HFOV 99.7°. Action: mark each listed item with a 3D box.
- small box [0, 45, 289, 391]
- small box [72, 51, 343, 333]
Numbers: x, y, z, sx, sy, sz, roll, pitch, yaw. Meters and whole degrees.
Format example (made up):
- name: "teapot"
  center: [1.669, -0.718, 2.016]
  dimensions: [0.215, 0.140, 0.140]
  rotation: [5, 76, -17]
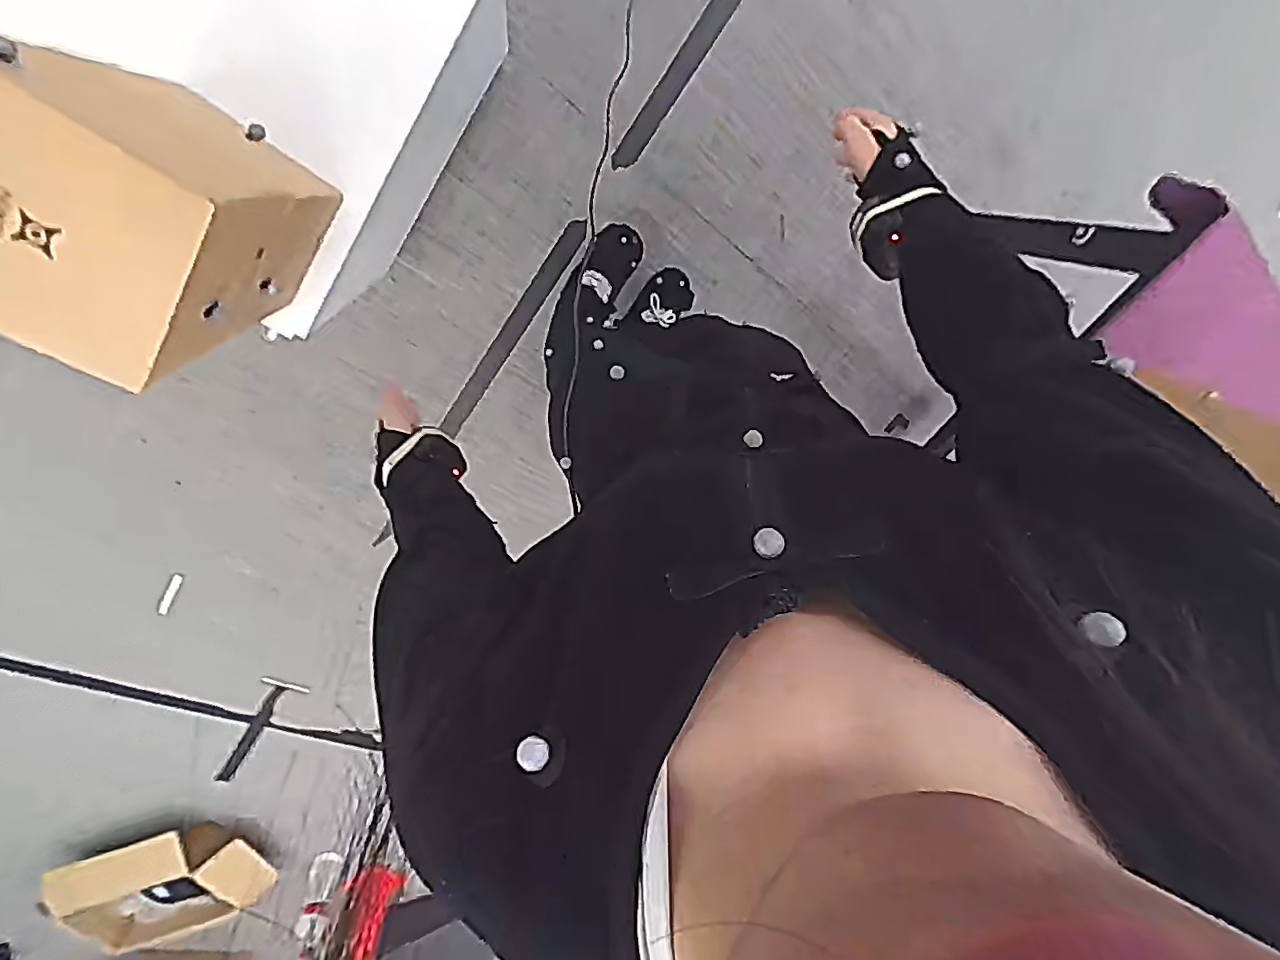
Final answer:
- name: "small box"
  center: [-0.417, -0.204, 0.424]
  dimensions: [0.179, 0.176, 0.168]
  rotation: [29, 109, -25]
- name: "small box"
  center: [-0.450, -0.284, 0.563]
  dimensions: [0.179, 0.176, 0.168]
  rotation: [31, 108, -25]
